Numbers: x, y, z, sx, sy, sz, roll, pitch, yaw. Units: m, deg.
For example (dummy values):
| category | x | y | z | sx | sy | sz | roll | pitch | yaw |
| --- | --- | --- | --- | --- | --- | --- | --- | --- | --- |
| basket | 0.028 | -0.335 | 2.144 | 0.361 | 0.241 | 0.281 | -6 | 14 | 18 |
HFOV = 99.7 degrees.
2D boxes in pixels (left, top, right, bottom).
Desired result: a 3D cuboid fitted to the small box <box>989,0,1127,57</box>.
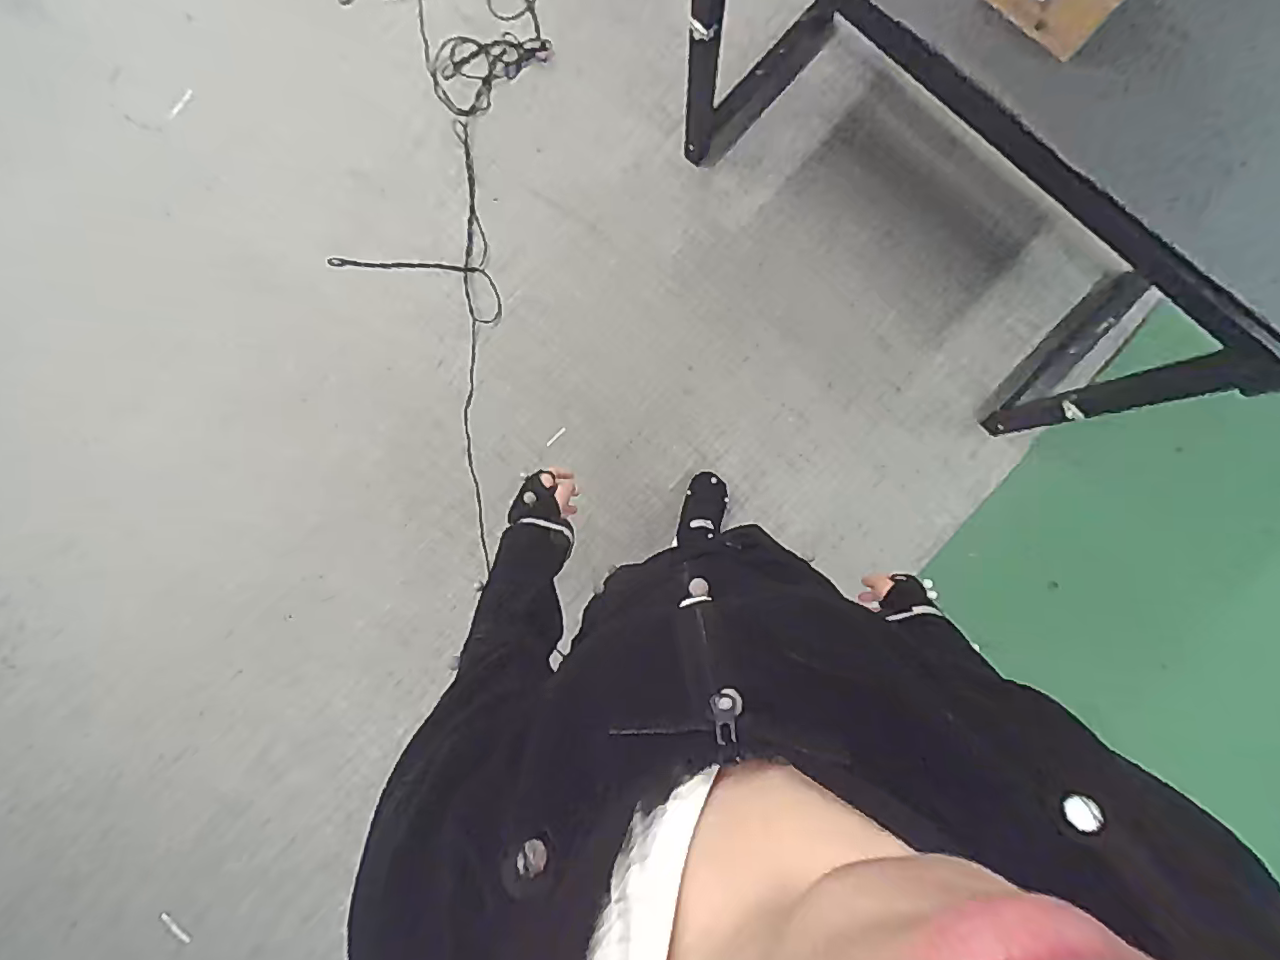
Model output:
| category | x | y | z | sx | sy | sz | roll | pitch | yaw |
| --- | --- | --- | --- | --- | --- | --- | --- | --- | --- |
| small box | 0.600 | -0.713 | 0.692 | 0.168 | 0.176 | 0.179 | 42 | 90 | 4 |
